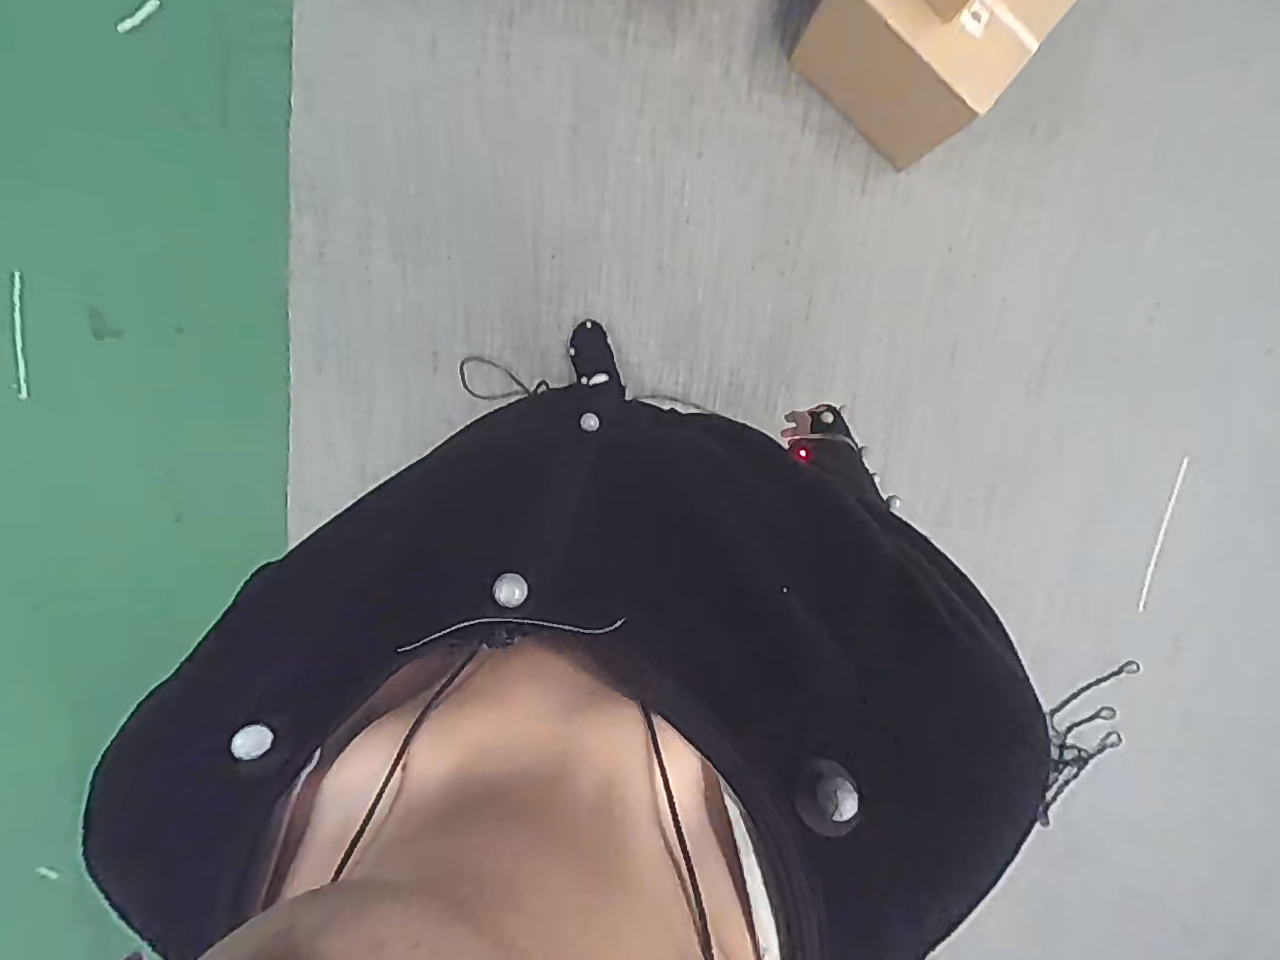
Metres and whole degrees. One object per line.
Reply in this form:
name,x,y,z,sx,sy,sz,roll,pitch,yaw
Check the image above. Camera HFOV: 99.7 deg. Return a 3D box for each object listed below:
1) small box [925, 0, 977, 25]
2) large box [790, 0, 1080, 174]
small box,0.599,-0.971,0.943,0.168,0.176,0.179,41,96,-9
large box,0.616,-0.984,1.190,0.408,0.320,0.320,37,97,-10
